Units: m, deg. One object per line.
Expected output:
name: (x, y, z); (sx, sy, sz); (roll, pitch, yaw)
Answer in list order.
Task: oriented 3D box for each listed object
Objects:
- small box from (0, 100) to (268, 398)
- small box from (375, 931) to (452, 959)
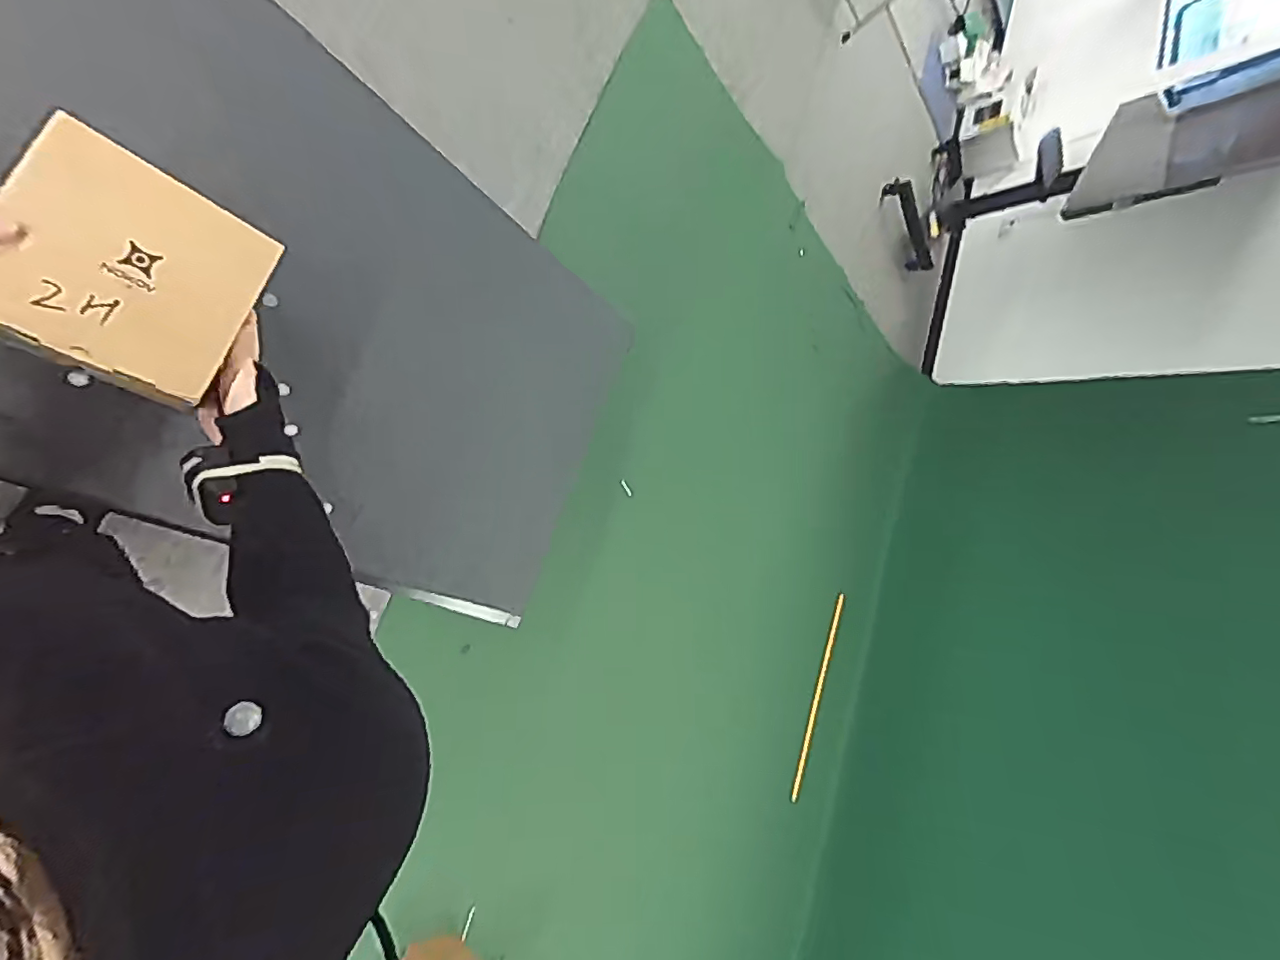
small box: (-0.496, -0.192, 0.507); (0.168, 0.176, 0.179); (32, 72, -42)
small box: (-0.666, 1.452, 1.564); (0.179, 0.176, 0.168); (35, 70, -42)
